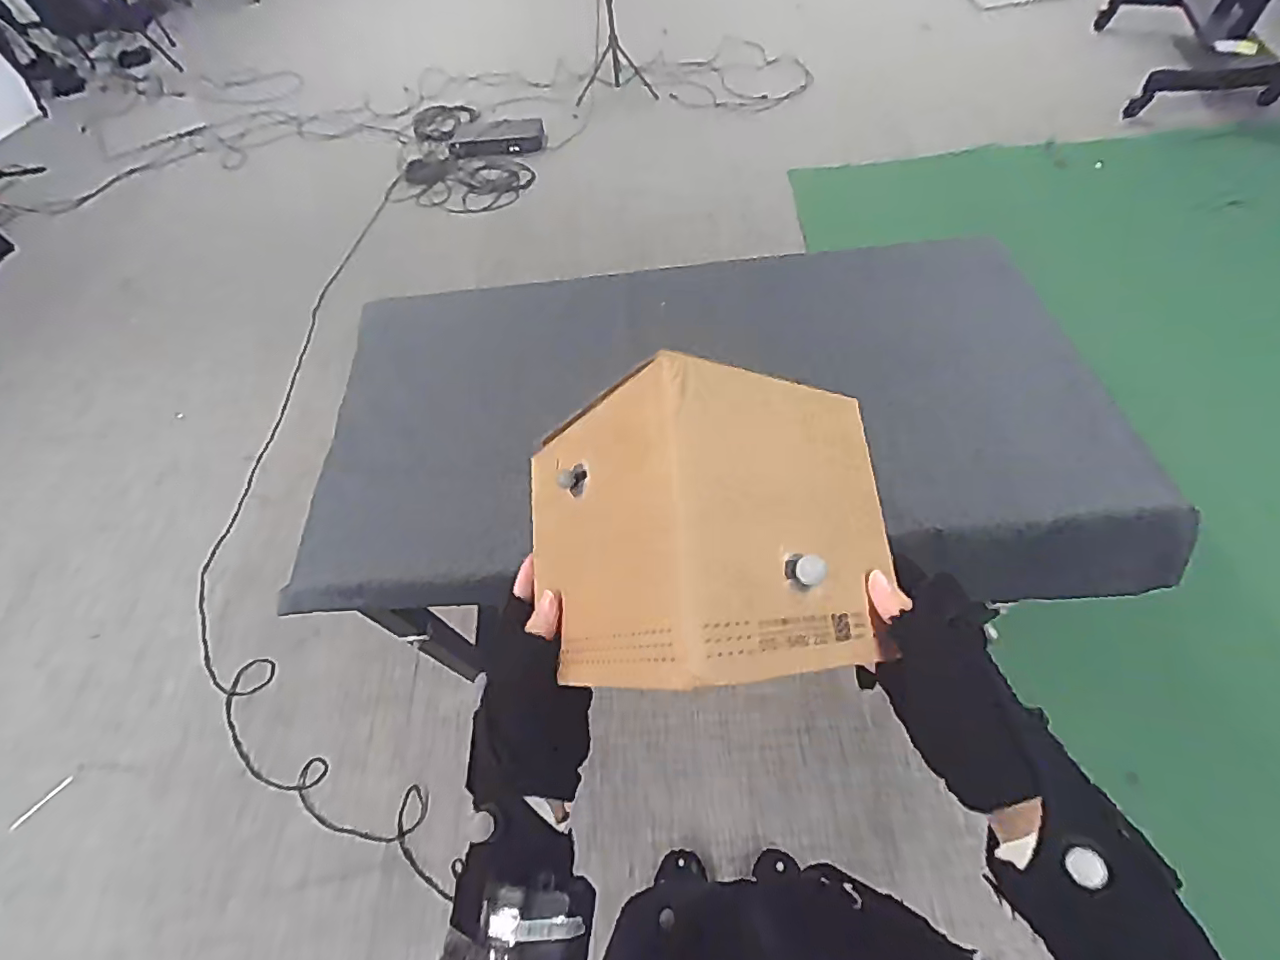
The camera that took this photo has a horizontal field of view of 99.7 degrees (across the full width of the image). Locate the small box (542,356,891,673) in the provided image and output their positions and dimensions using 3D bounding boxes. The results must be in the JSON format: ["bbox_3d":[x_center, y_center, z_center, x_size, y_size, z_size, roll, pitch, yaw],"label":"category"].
[{"bbox_3d":[0.041,0.041,0.381,0.168,0.179,0.176,5,71,-34],"label":"small box"}]
